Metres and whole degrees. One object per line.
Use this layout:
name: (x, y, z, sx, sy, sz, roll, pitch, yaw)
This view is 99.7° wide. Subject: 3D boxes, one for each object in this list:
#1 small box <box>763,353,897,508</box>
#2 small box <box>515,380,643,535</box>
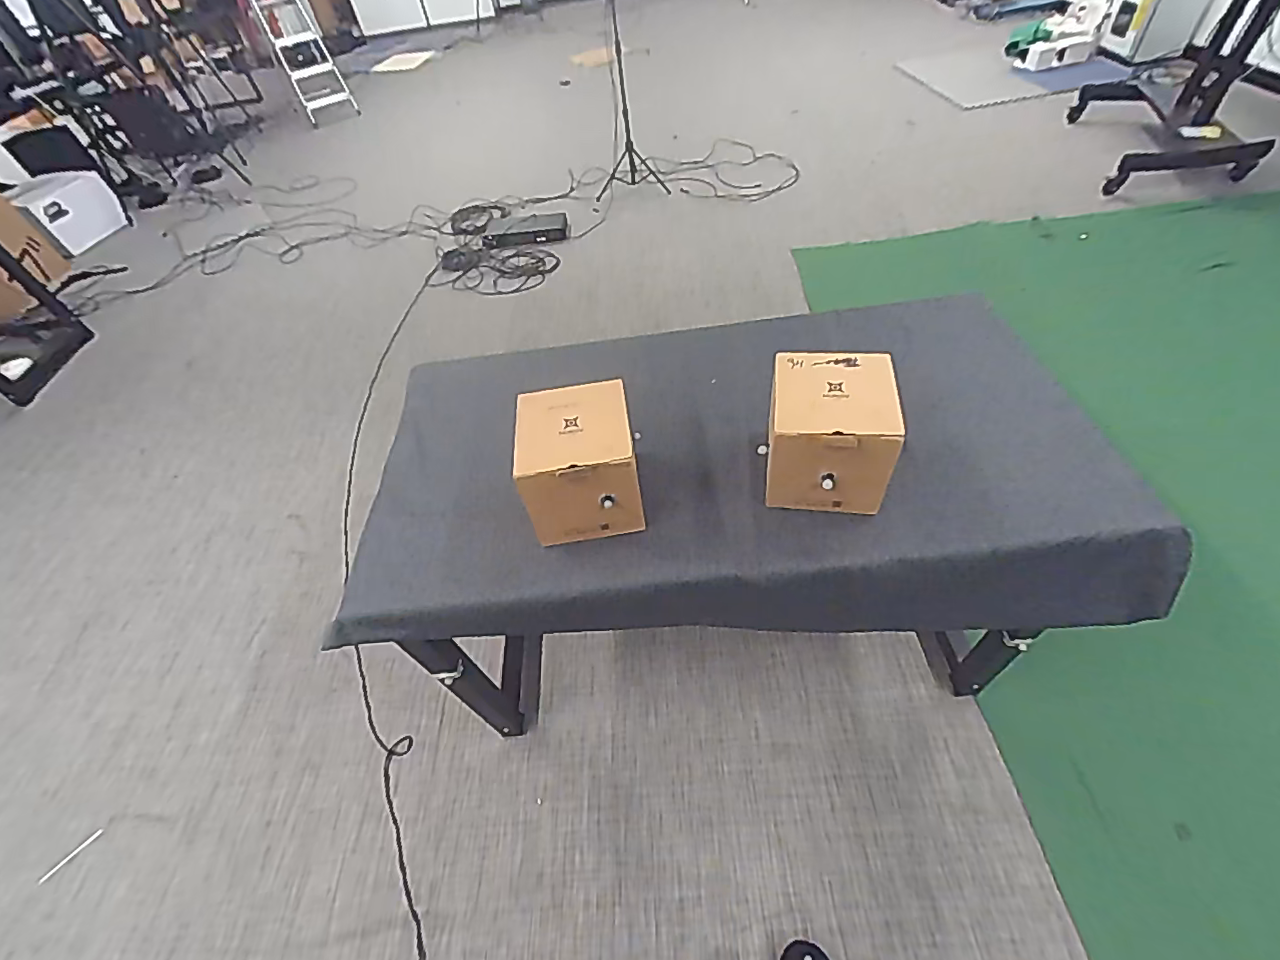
small box: (0.280, -0.074, 0.830, 0.168, 0.176, 0.179, 4, 51, 11)
small box: (-0.091, -0.028, 0.846, 0.168, 0.176, 0.179, -9, 47, -1)
